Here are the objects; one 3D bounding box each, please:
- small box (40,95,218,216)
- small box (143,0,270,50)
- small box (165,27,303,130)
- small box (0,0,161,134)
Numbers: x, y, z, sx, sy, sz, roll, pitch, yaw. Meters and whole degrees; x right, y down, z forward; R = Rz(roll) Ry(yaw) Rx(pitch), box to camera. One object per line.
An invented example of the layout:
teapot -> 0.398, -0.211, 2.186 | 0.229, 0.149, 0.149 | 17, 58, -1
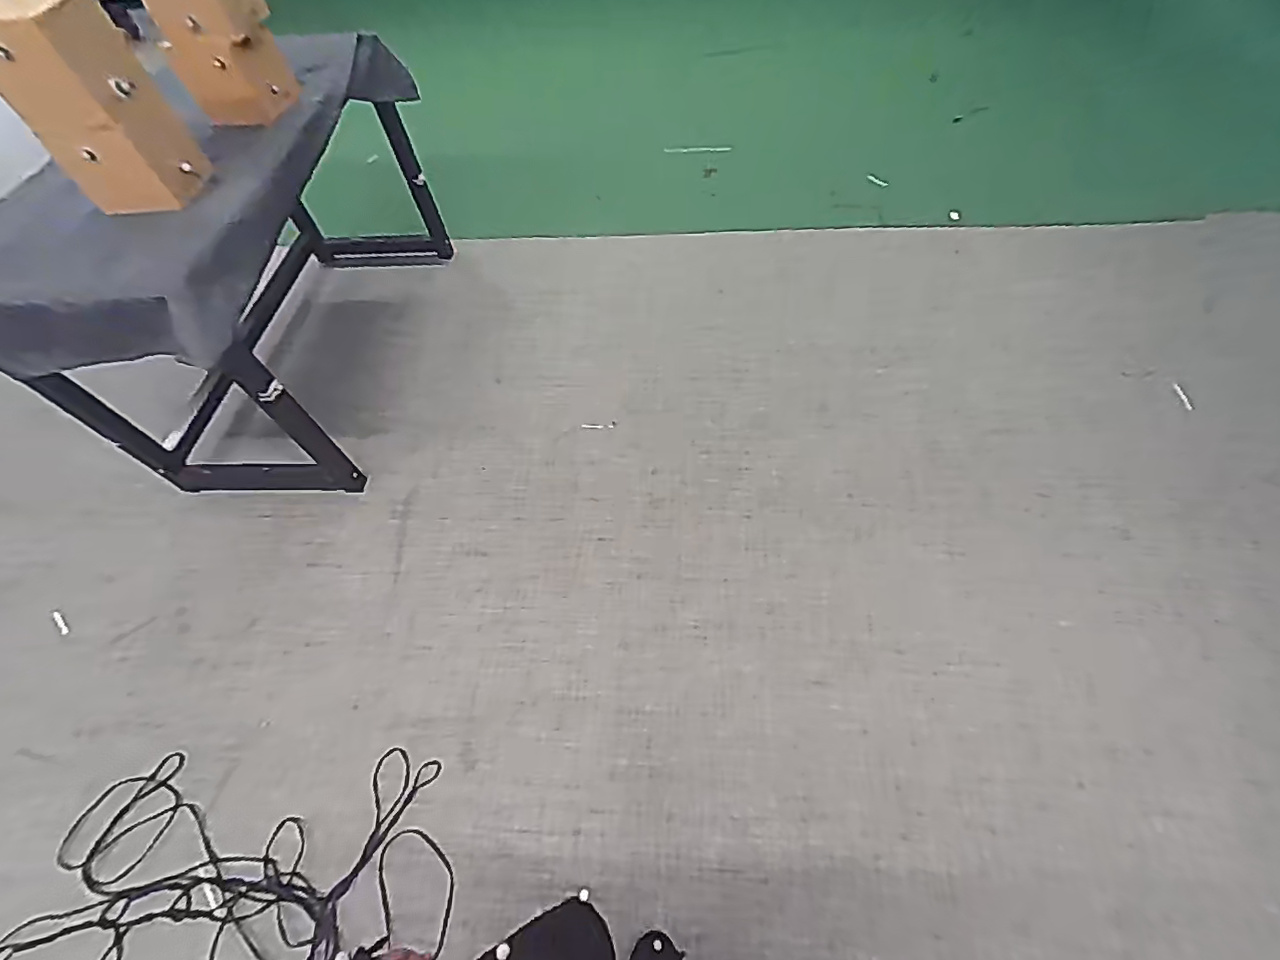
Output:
small box -> -1.060, -0.678, 1.140 | 0.179, 0.176, 0.168 | -2, 57, 2
small box -> -0.984, -1.094, 1.211 | 0.179, 0.176, 0.168 | 1, 57, 4
small box -> -0.994, -0.994, 1.341 | 0.179, 0.176, 0.168 | 3, 57, 7
small box -> -1.070, -0.771, 1.007 | 0.179, 0.176, 0.168 | -2, 58, 2
